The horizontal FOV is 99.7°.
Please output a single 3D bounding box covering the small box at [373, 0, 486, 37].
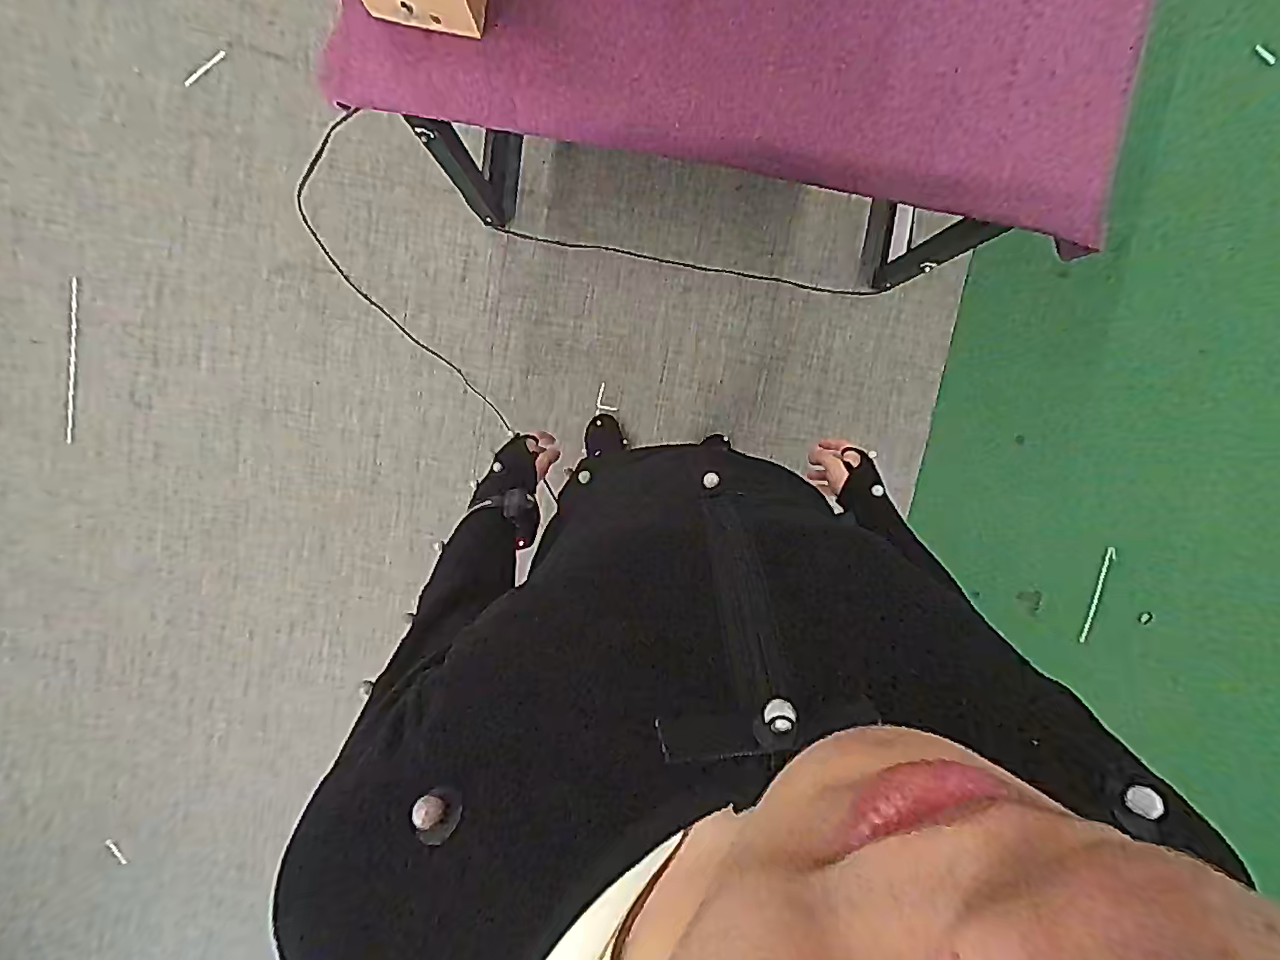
[{"bbox_3d":[-0.302,-0.755,0.722,0.168,0.176,0.179,10,96,-2],"label":"small box"}]
